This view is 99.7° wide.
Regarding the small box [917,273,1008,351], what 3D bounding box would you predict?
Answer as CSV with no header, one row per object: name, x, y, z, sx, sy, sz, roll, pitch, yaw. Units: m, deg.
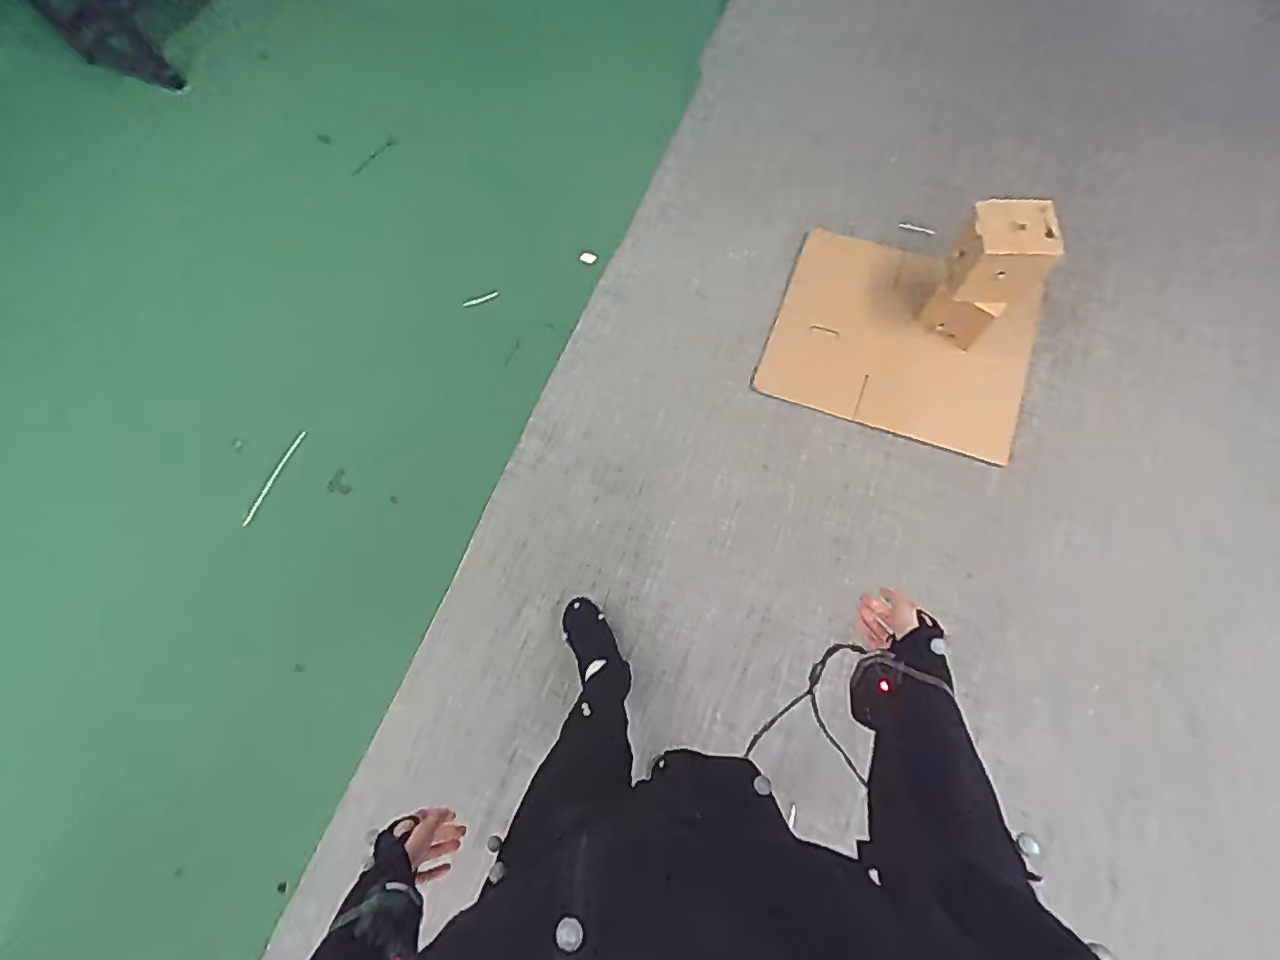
small box,0.903,-0.496,1.492,0.168,0.176,0.179,38,78,16

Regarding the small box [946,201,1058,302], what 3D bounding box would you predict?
small box,0.884,-0.561,1.343,0.179,0.176,0.168,3,70,7
